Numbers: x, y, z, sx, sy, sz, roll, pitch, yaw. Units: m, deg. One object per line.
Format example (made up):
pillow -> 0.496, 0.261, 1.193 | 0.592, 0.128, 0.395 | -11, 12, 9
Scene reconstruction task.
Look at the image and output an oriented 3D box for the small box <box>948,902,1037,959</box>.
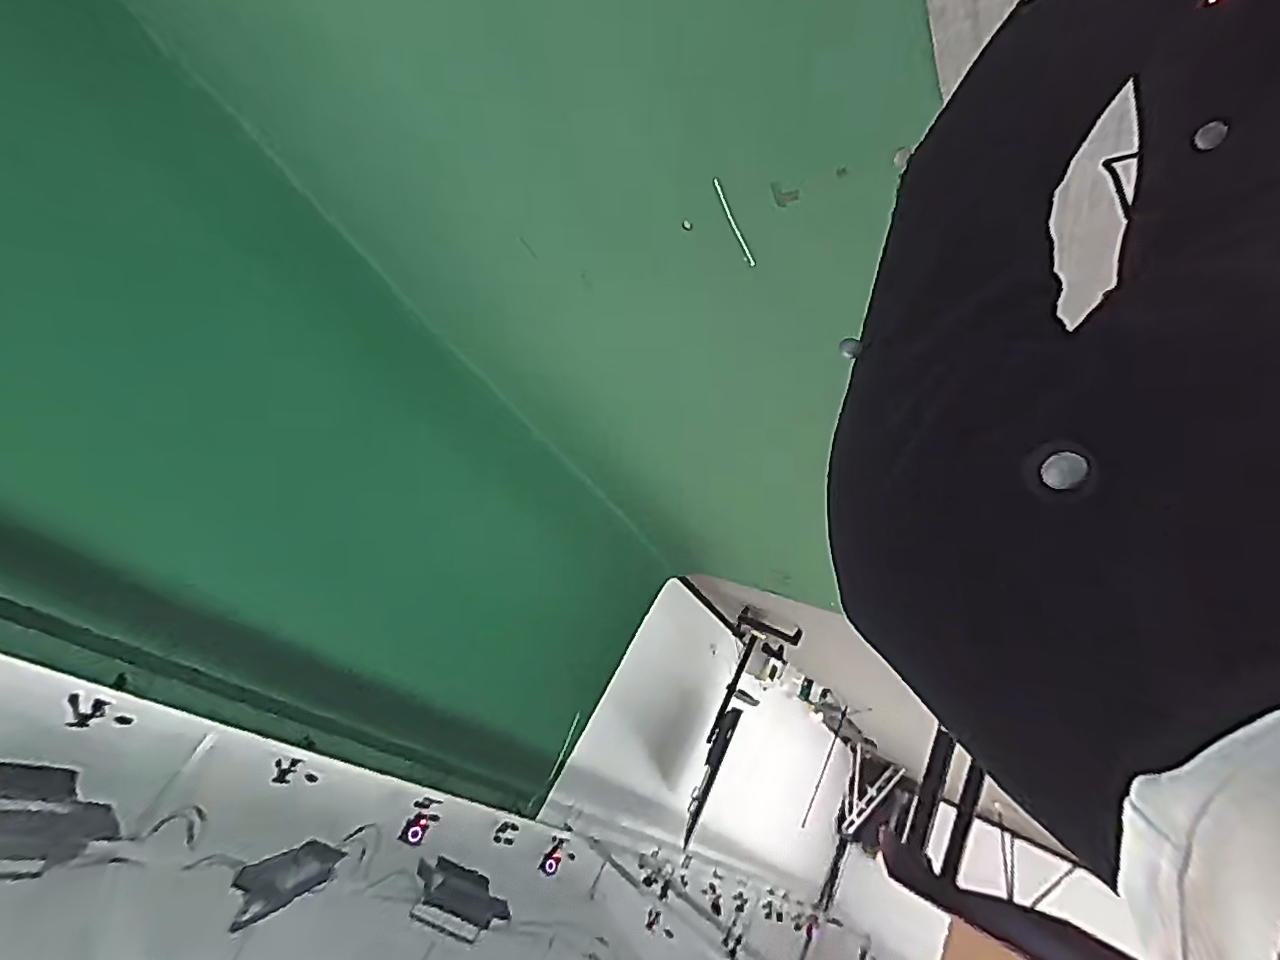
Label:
small box -> 0.952, 1.284, 1.457 | 0.179, 0.176, 0.168 | 8, 151, 44
